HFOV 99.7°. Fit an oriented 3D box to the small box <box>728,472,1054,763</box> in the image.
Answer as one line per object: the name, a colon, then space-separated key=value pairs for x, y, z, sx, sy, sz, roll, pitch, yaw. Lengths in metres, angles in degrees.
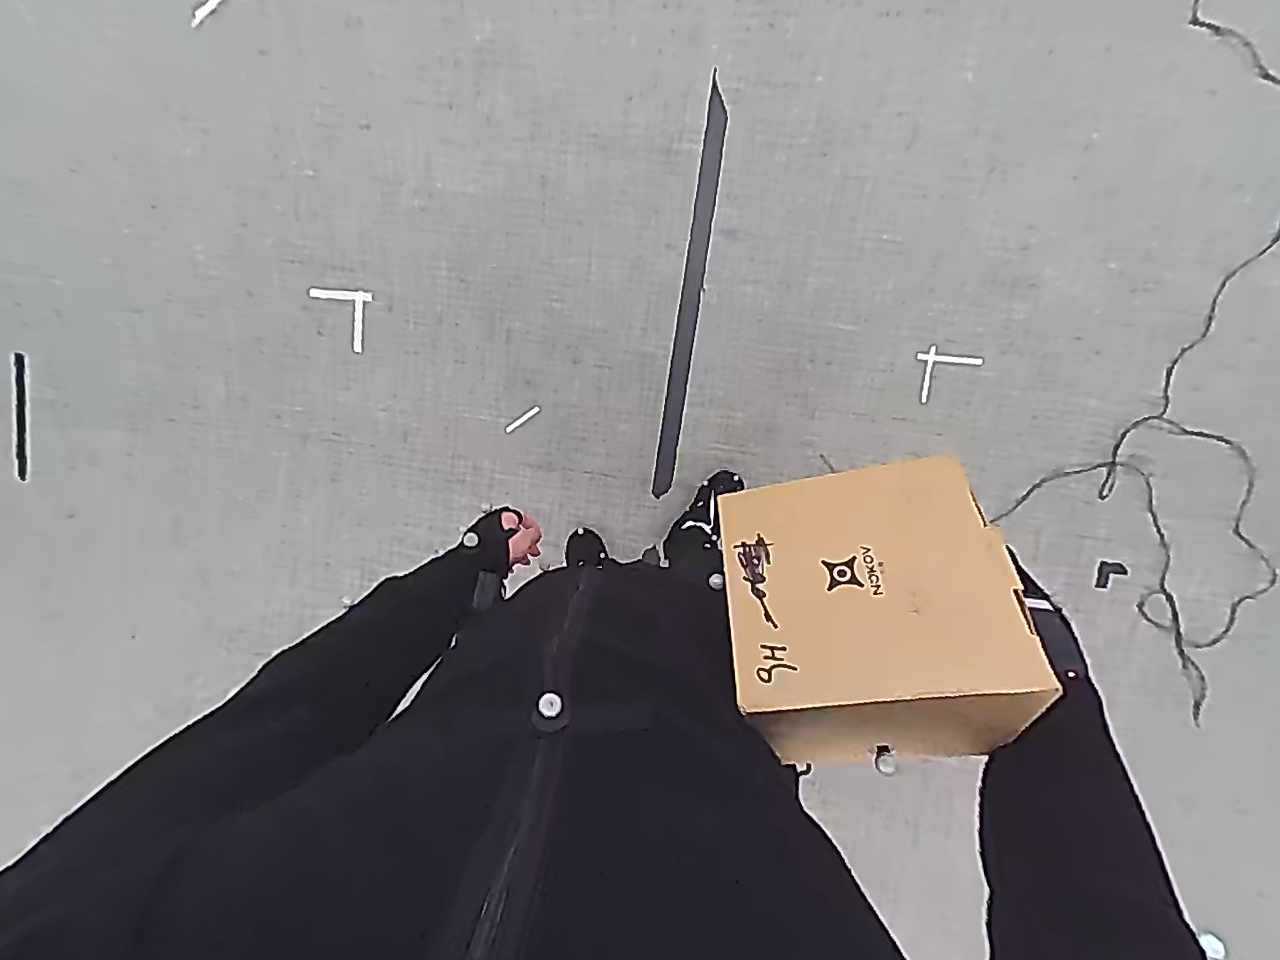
small box: x=0.175 y=0.119 z=0.432 sx=0.179 sy=0.176 sz=0.168 roll=-10 pitch=51 yaw=14
